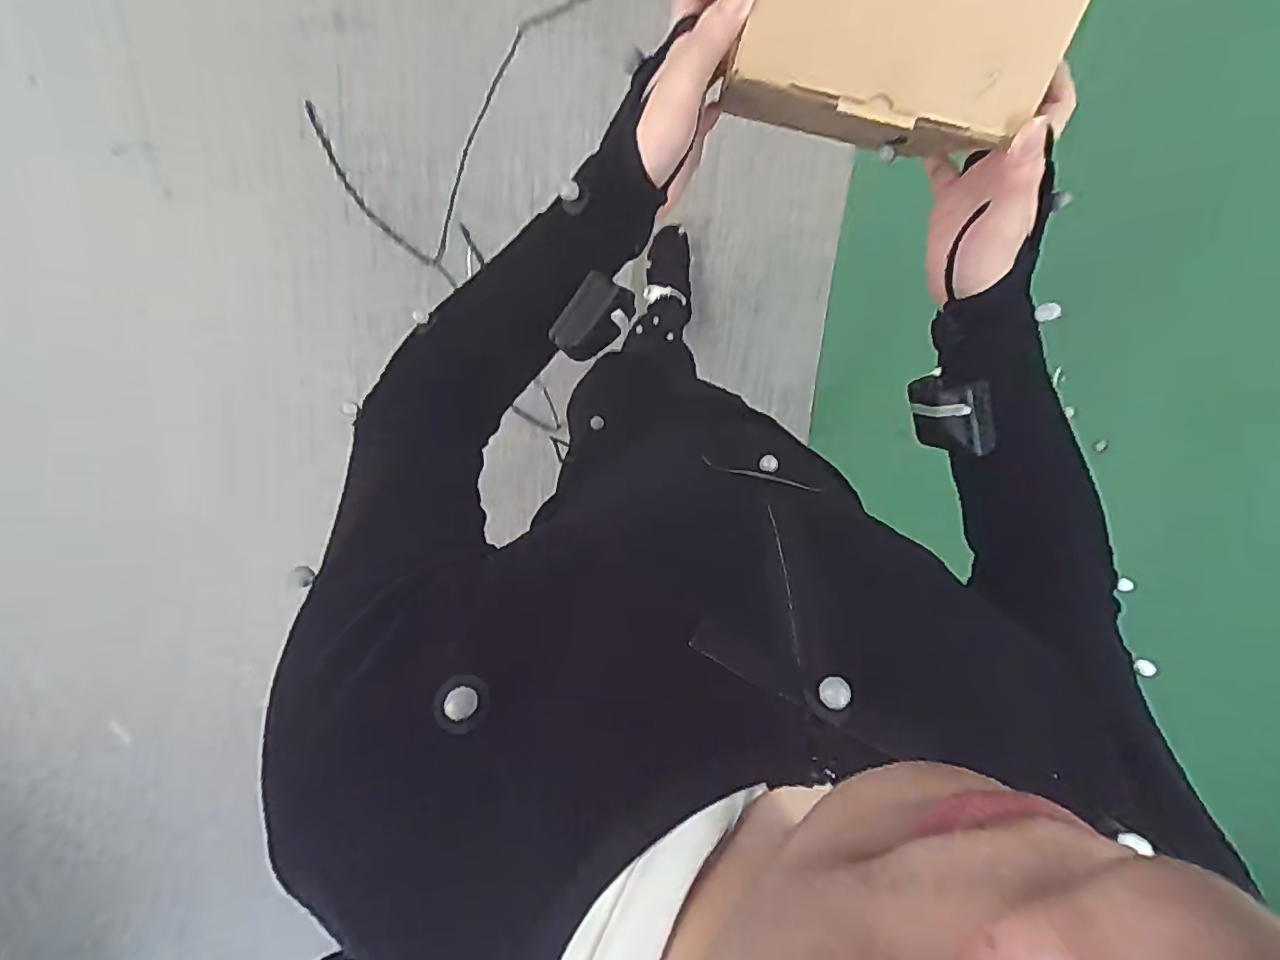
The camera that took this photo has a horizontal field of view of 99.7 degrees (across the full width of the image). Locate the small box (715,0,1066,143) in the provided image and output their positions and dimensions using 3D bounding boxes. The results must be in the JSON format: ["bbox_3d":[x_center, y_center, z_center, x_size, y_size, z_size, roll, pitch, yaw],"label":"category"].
[{"bbox_3d":[0.147,-0.320,0.323,0.168,0.176,0.179,13,119,-2],"label":"small box"}]
